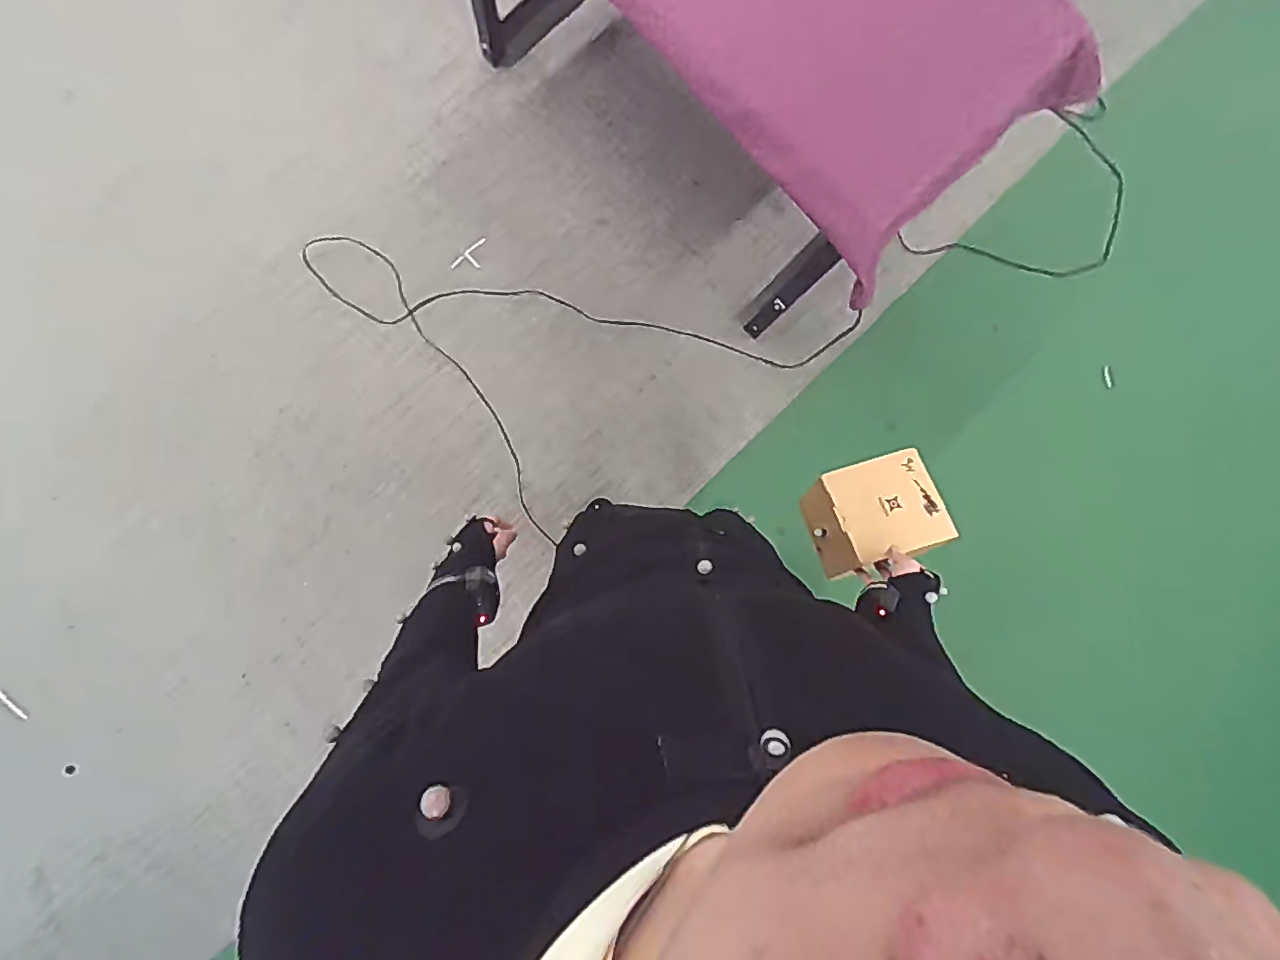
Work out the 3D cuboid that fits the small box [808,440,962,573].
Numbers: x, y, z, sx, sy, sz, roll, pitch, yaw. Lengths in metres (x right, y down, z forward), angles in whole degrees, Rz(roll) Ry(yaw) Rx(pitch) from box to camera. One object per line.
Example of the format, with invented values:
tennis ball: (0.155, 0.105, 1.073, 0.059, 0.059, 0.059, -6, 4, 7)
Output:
small box: (0.412, 0.055, 0.954, 0.179, 0.176, 0.168, -17, 72, -3)
